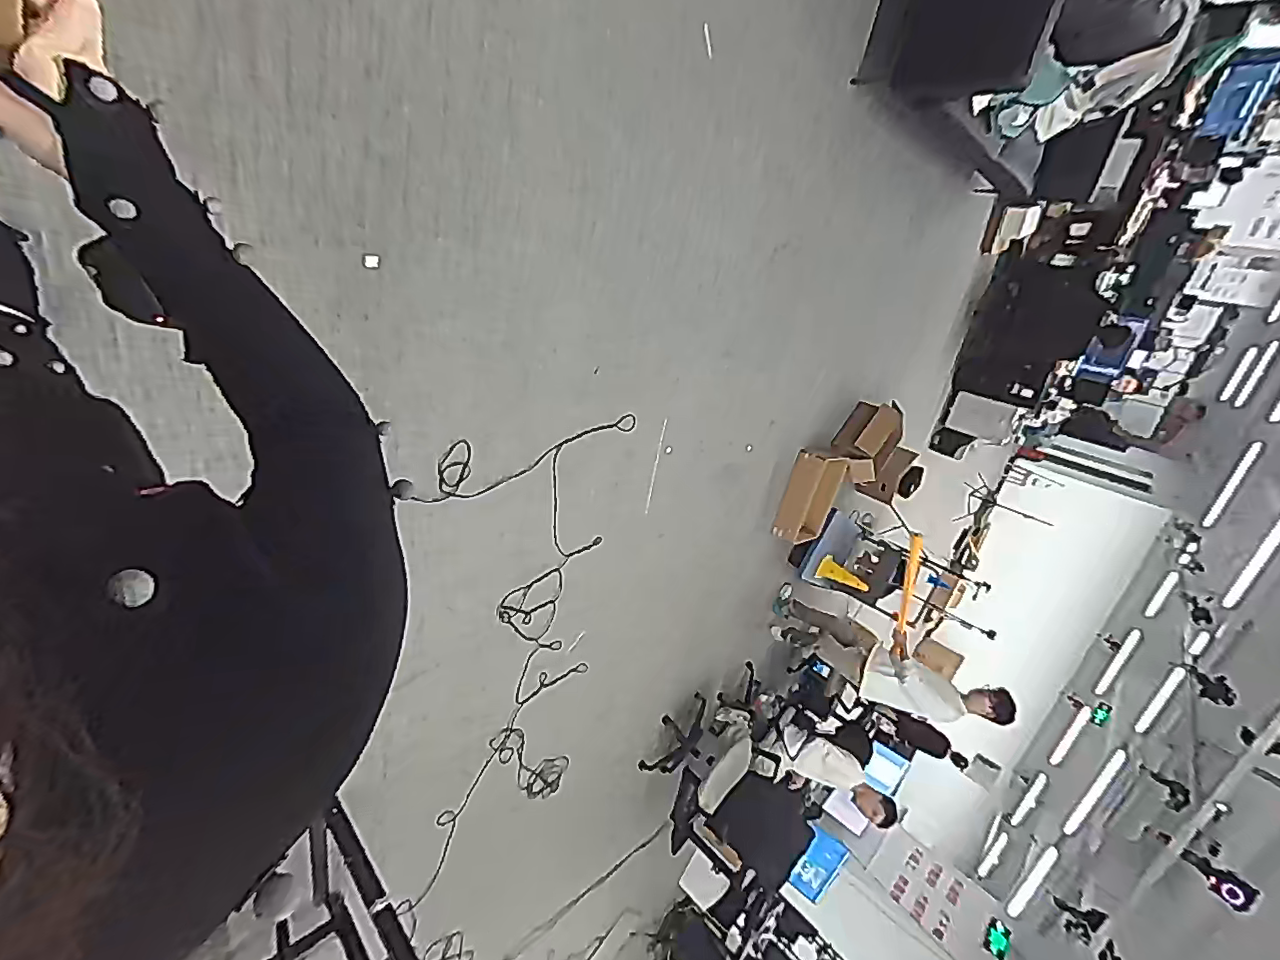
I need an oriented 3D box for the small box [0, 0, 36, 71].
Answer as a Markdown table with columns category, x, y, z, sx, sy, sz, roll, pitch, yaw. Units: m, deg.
| category | x | y | z | sx | sy | sz | roll | pitch | yaw |
| --- | --- | --- | --- | --- | --- | --- | --- | --- | --- |
| small box | -0.417 | -0.344 | 0.257 | 0.179 | 0.176 | 0.168 | 0 | 88 | -47 |
